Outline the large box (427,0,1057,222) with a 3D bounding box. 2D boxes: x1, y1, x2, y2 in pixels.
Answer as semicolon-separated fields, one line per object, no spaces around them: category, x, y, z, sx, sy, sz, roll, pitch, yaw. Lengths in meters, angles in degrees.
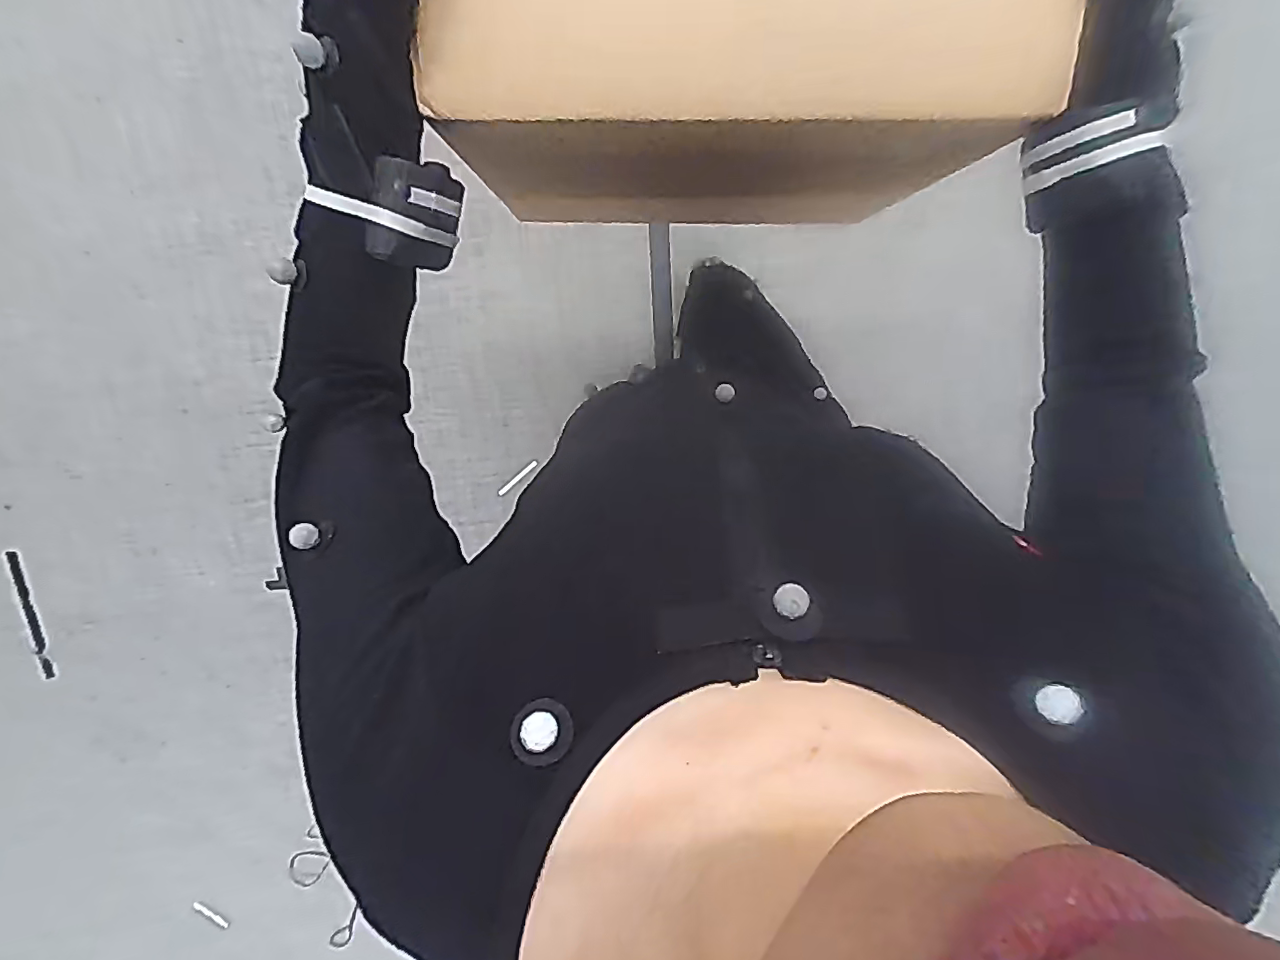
large box;0.058;-0.425;0.461;0.408;0.320;0.320;-1;104;-1
